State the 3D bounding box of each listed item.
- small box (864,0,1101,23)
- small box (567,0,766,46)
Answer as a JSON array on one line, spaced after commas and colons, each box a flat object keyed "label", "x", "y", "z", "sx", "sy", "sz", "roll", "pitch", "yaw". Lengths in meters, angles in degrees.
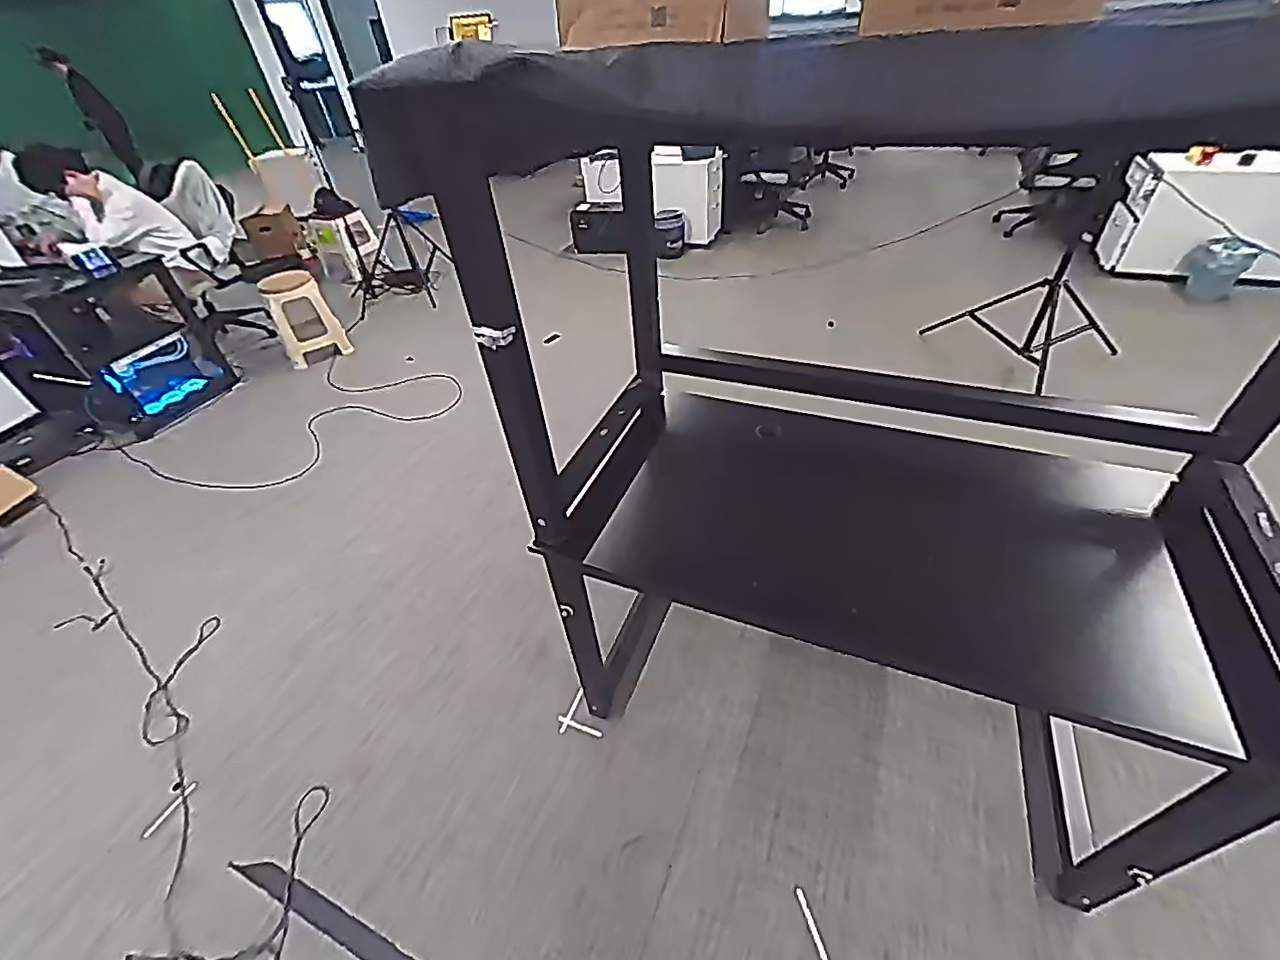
[{"label": "small box", "x": 0.280, "y": -0.460, "z": 0.412, "sx": 0.168, "sy": 0.176, "sz": 0.179, "roll": 14, "pitch": 43, "yaw": 21}, {"label": "small box", "x": 0.029, "y": -0.516, "z": 0.502, "sx": 0.168, "sy": 0.176, "sz": 0.179, "roll": 14, "pitch": 43, "yaw": 18}]
